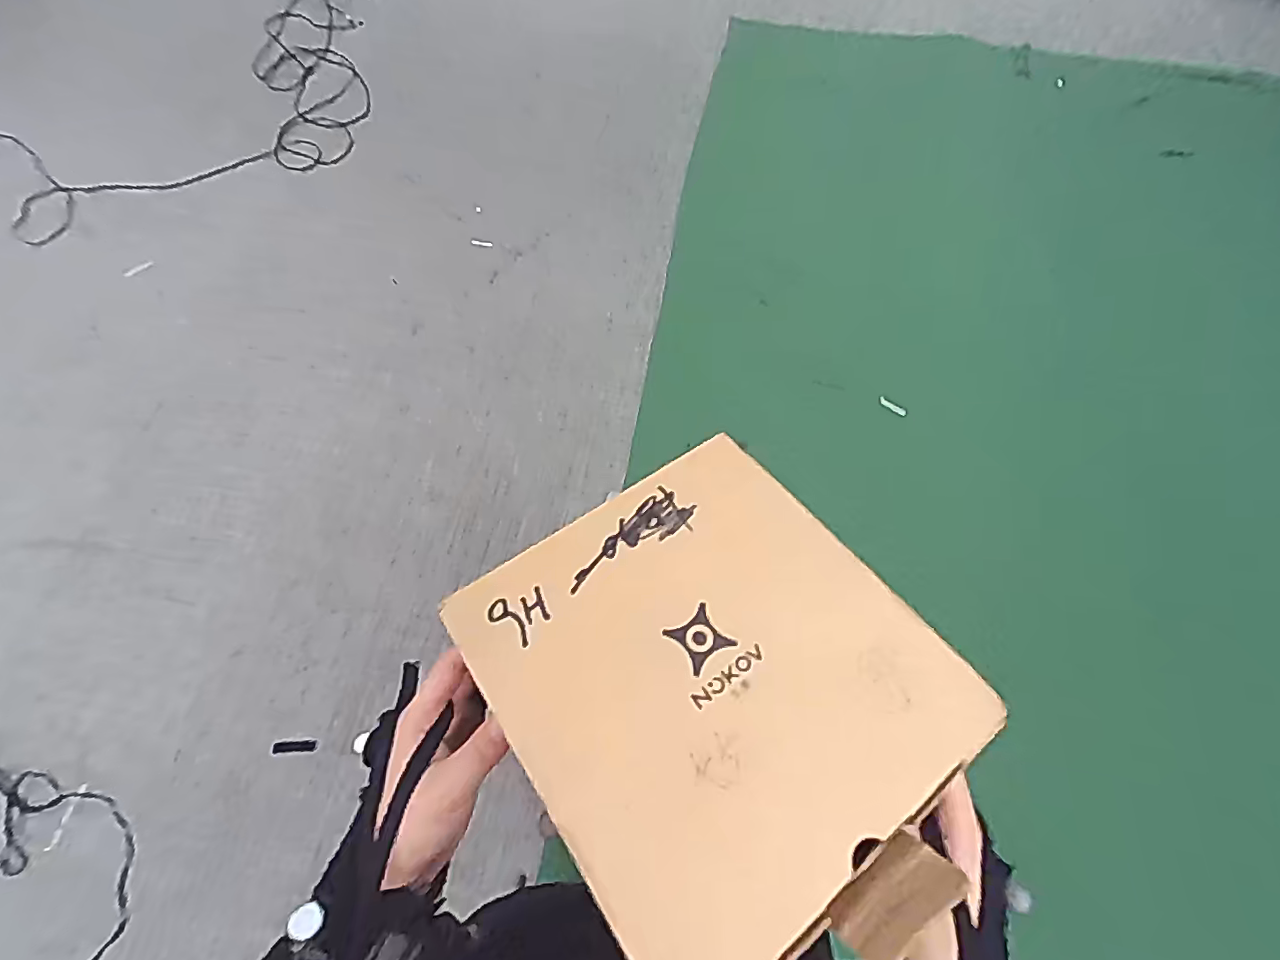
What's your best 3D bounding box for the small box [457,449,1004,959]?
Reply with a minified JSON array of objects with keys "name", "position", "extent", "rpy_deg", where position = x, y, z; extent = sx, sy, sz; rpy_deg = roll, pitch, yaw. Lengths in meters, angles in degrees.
[{"name":"small box","position":[0.031,0.122,0.294],"extent":[0.168,0.176,0.179],"rpy_deg":[-29,62,-20]}]
